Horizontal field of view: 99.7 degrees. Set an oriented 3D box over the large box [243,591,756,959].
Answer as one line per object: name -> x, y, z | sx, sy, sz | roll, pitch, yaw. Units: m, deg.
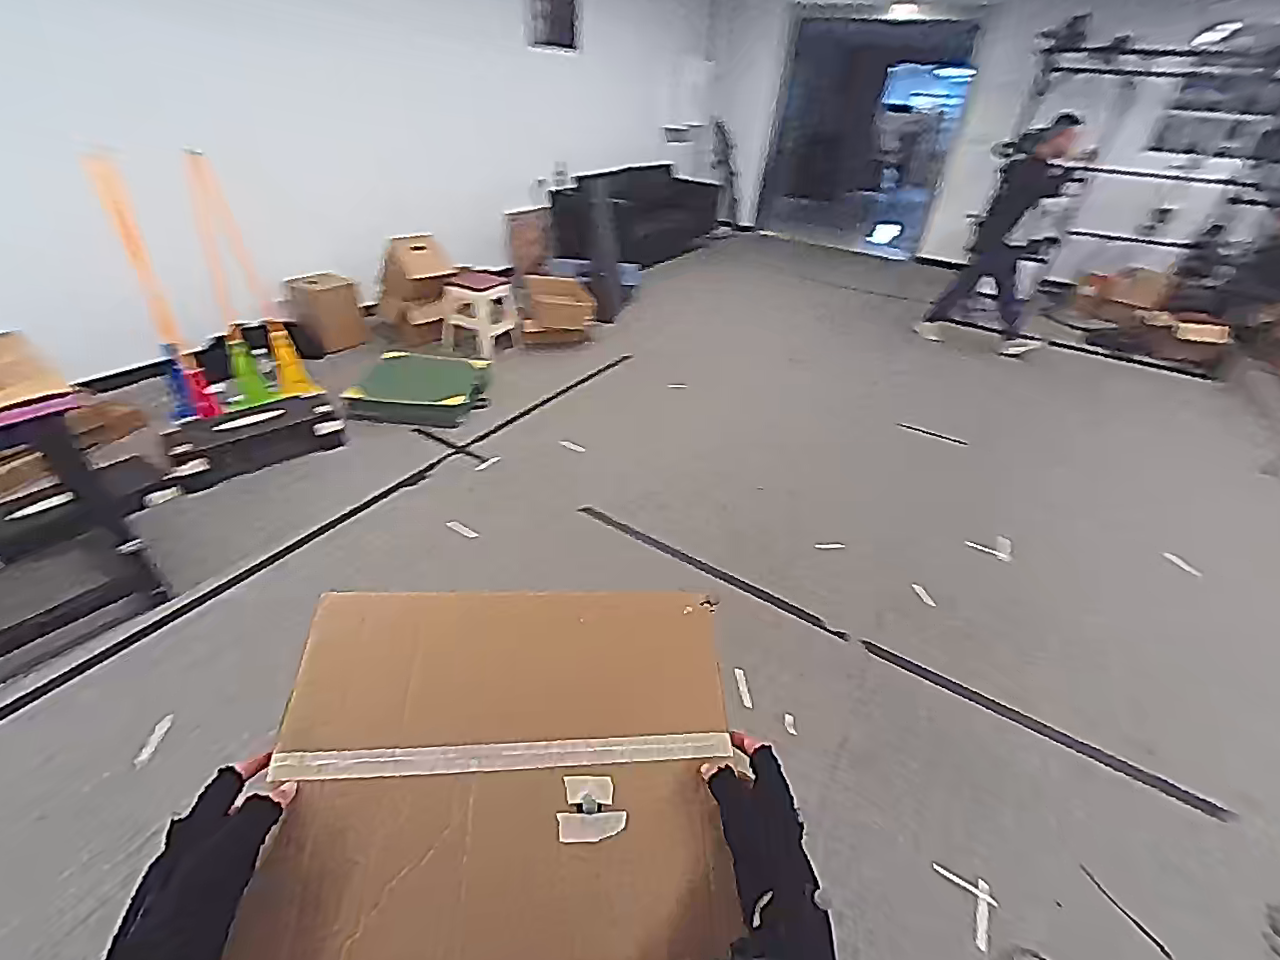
large box -> -0.129, 0.335, 0.623 | 0.408, 0.320, 0.320 | 3, 55, -9
